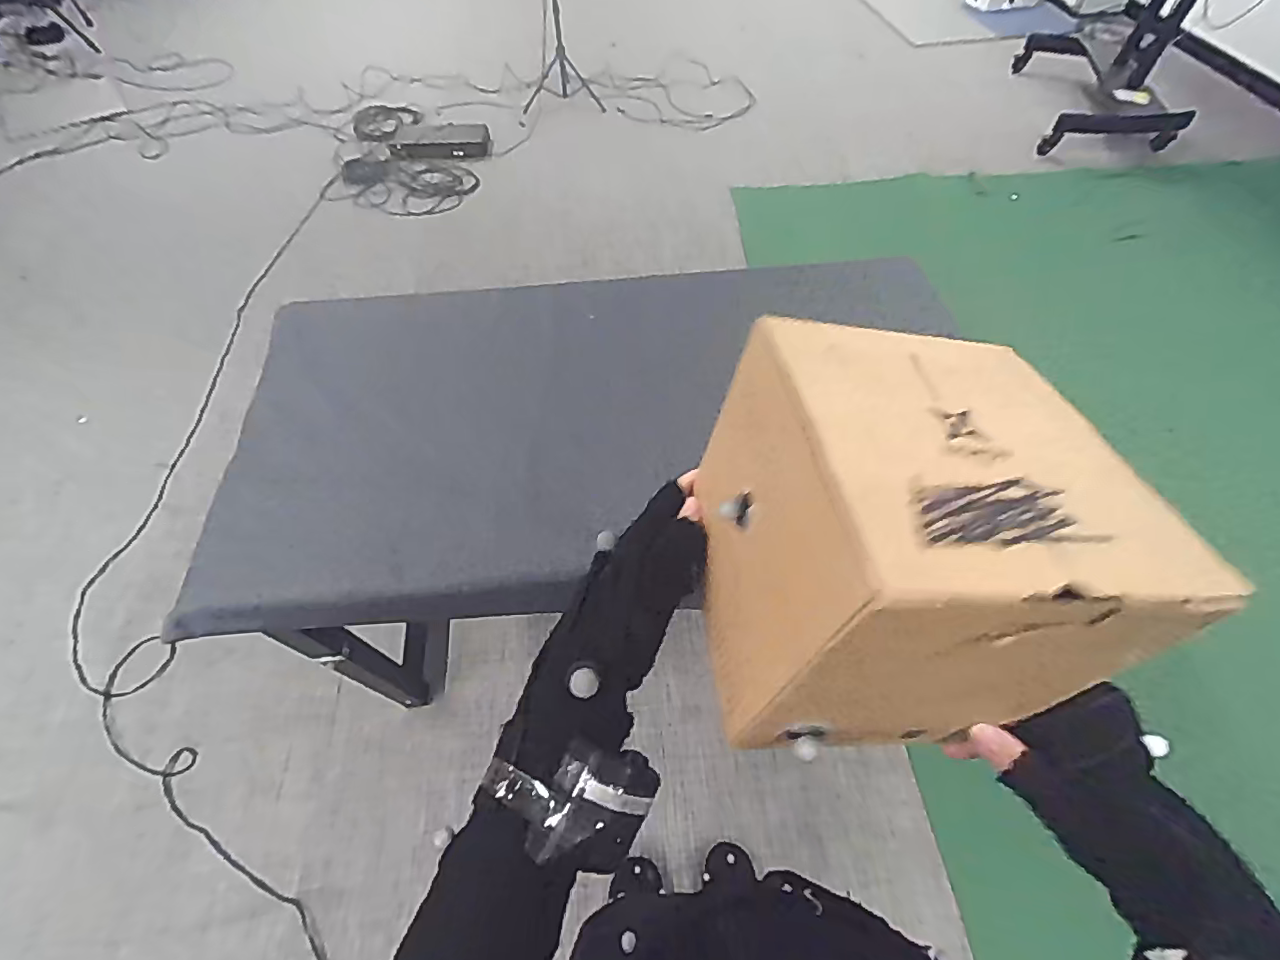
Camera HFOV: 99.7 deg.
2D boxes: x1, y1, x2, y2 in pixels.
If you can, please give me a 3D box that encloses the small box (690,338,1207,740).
[{"bbox_3d":[0.135,0.043,0.322,0.168,0.176,0.179,4,47,-11],"label":"small box"}]
